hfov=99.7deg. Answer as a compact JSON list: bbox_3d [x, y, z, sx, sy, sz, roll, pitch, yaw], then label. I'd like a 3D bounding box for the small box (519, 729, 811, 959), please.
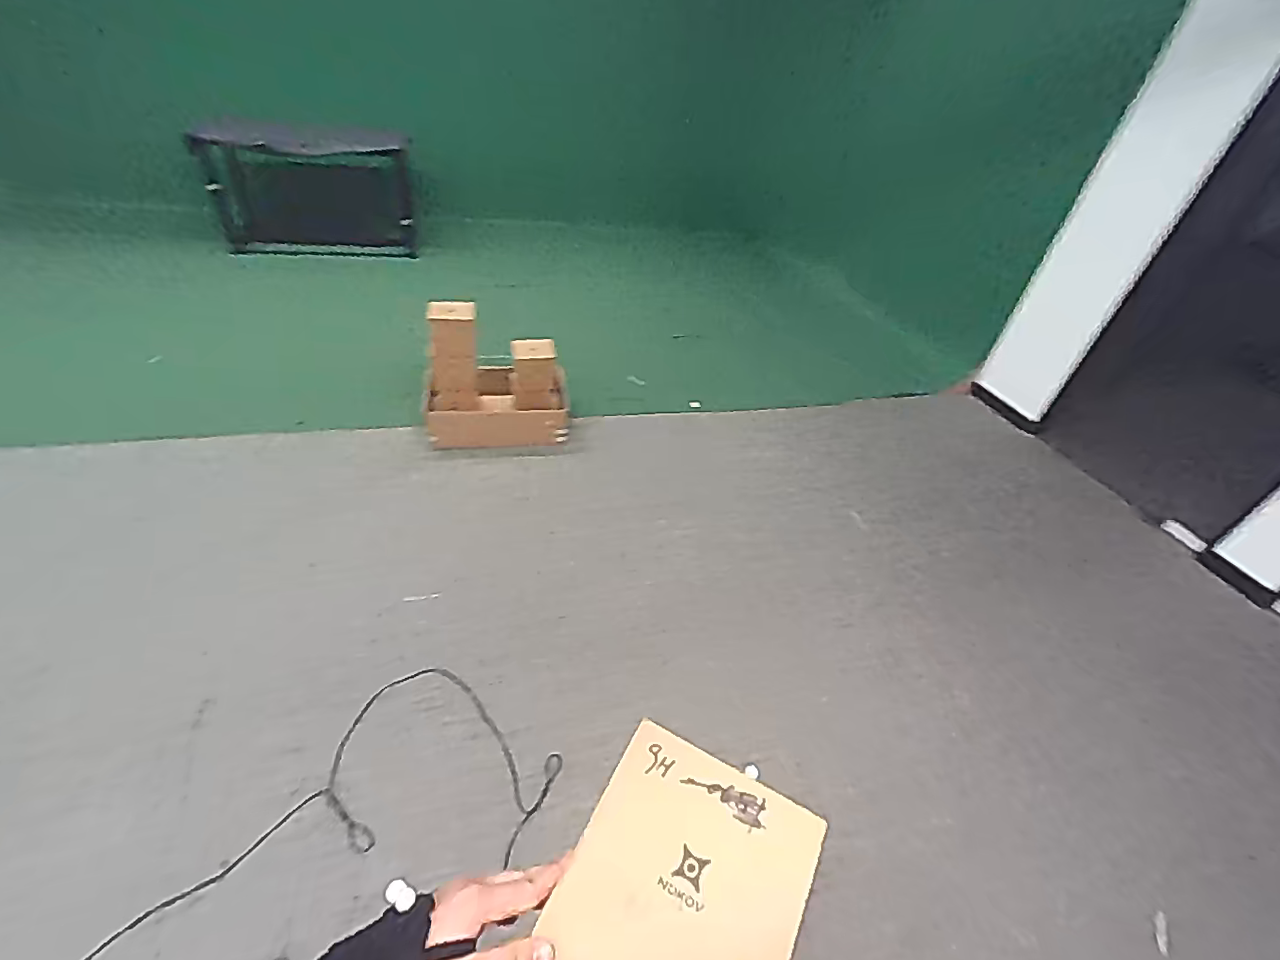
[{"bbox_3d":[0.027,0.357,0.465,0.168,0.176,0.179,22,54,18],"label":"small box"}]

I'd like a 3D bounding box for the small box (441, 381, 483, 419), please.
[{"bbox_3d":[-0.814,-0.391,2.481,0.168,0.176,0.179,-3,42,-14],"label":"small box"}]

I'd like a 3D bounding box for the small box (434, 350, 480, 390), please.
[{"bbox_3d":[-0.798,-0.508,2.367,0.179,0.176,0.168,-2,42,-14],"label":"small box"}]

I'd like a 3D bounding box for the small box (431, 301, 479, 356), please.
[{"bbox_3d":[-0.767,-0.631,2.261,0.179,0.176,0.168,-3,41,-14],"label":"small box"}]

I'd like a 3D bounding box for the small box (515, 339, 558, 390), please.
[{"bbox_3d":[-0.467,-0.518,2.435,0.179,0.176,0.168,-5,44,-14],"label":"small box"}]
